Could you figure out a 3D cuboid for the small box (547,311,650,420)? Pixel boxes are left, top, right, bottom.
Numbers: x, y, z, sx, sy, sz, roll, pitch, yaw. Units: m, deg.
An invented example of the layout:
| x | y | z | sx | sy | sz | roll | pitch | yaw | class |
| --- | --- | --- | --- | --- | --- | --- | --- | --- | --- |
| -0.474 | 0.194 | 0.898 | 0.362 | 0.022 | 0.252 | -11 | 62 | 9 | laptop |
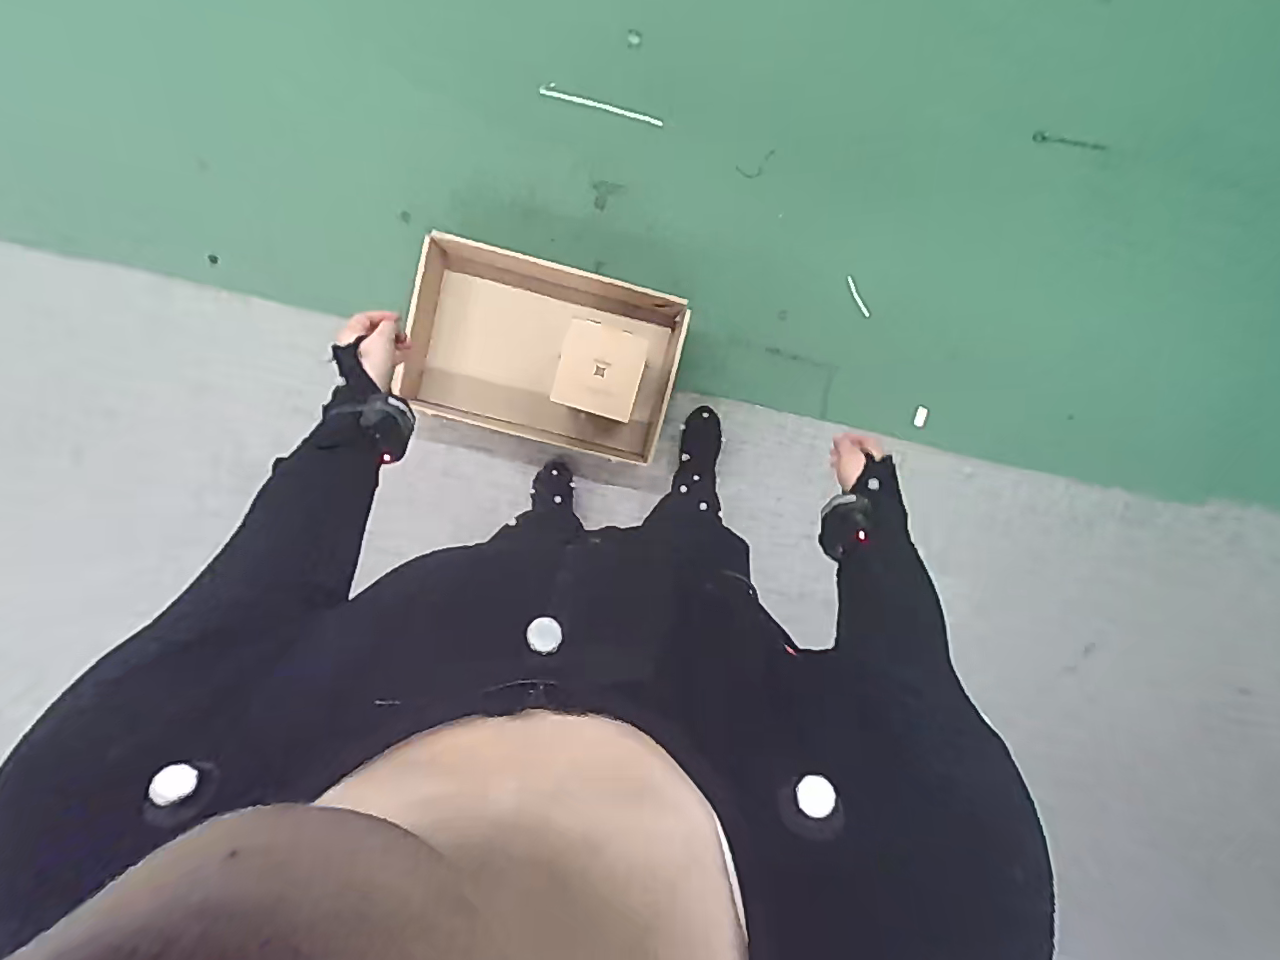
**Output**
| x | y | z | sx | sy | sz | roll | pitch | yaw | class |
| --- | --- | --- | --- | --- | --- | --- | --- | --- | --- |
| -0.087 | -0.232 | 1.131 | 0.168 | 0.176 | 0.179 | 15 | 97 | -5 | small box |
